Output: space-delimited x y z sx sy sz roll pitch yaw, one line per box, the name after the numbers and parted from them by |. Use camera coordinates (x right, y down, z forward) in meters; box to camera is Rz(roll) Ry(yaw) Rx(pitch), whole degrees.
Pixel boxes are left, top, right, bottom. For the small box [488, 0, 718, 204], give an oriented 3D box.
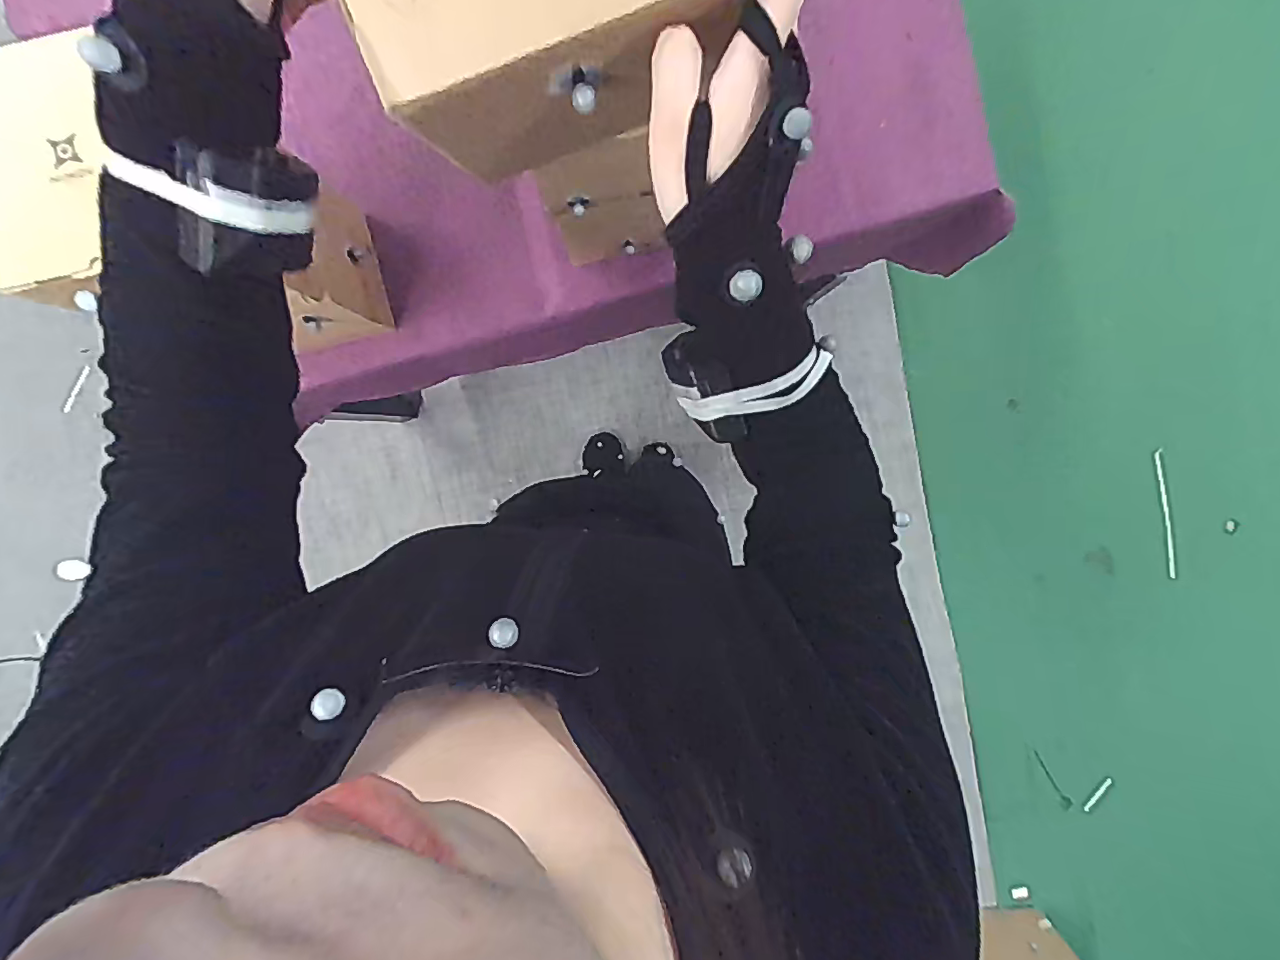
-0.031 -0.373 0.488 0.168 0.176 0.179 -10 94 1 | small box

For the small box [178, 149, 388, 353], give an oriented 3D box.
-0.436 -0.264 0.664 0.179 0.176 0.168 -13 94 1 | small box

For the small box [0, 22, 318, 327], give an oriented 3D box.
-0.441 -0.258 0.501 0.168 0.176 0.179 -13 96 1 | small box
